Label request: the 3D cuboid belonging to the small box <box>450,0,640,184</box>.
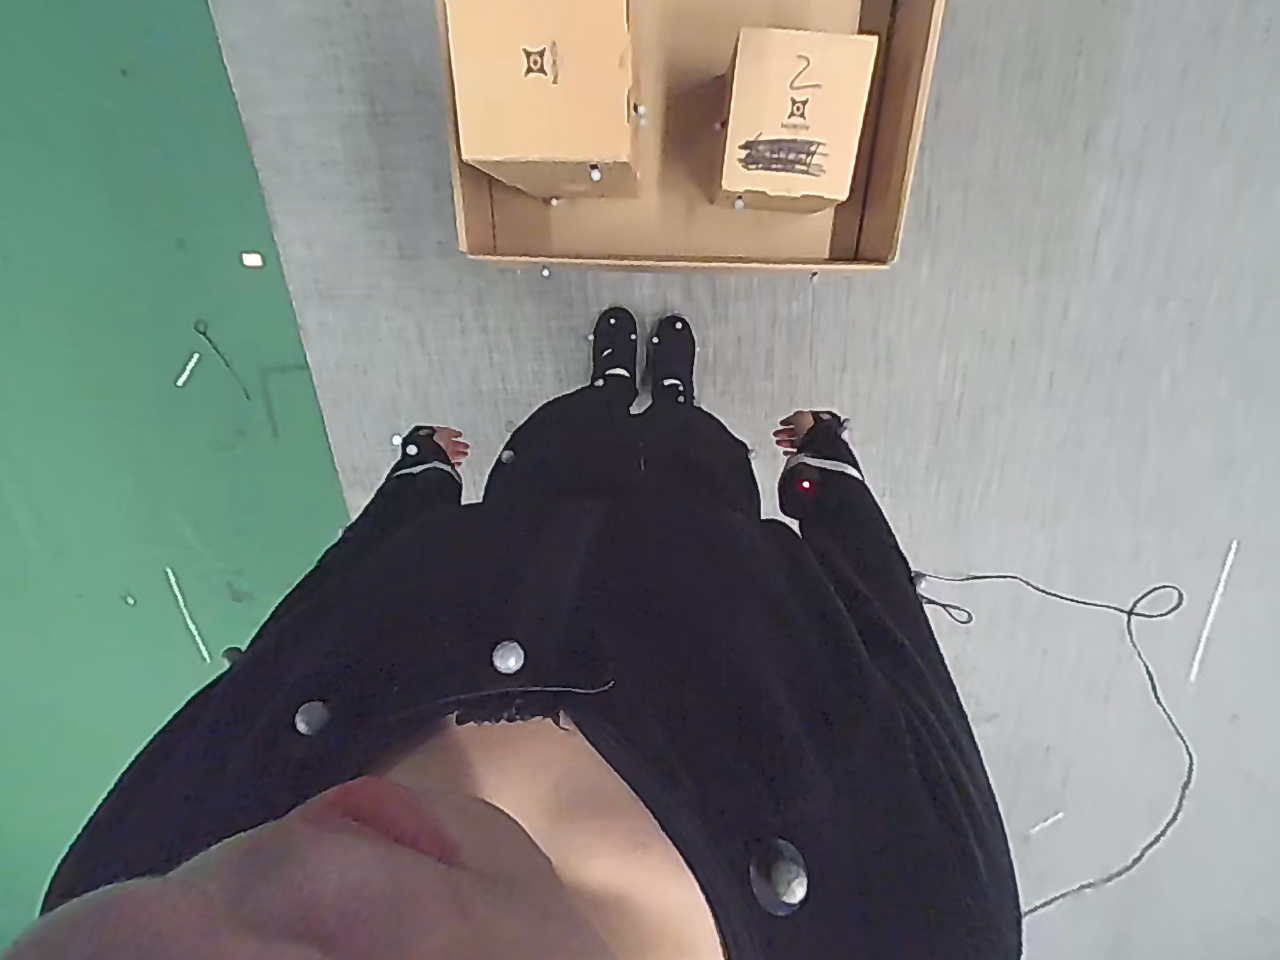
[{"bbox_3d":[-0.091,-0.432,0.598,0.179,0.176,0.168,1,111,1],"label":"small box"}]
